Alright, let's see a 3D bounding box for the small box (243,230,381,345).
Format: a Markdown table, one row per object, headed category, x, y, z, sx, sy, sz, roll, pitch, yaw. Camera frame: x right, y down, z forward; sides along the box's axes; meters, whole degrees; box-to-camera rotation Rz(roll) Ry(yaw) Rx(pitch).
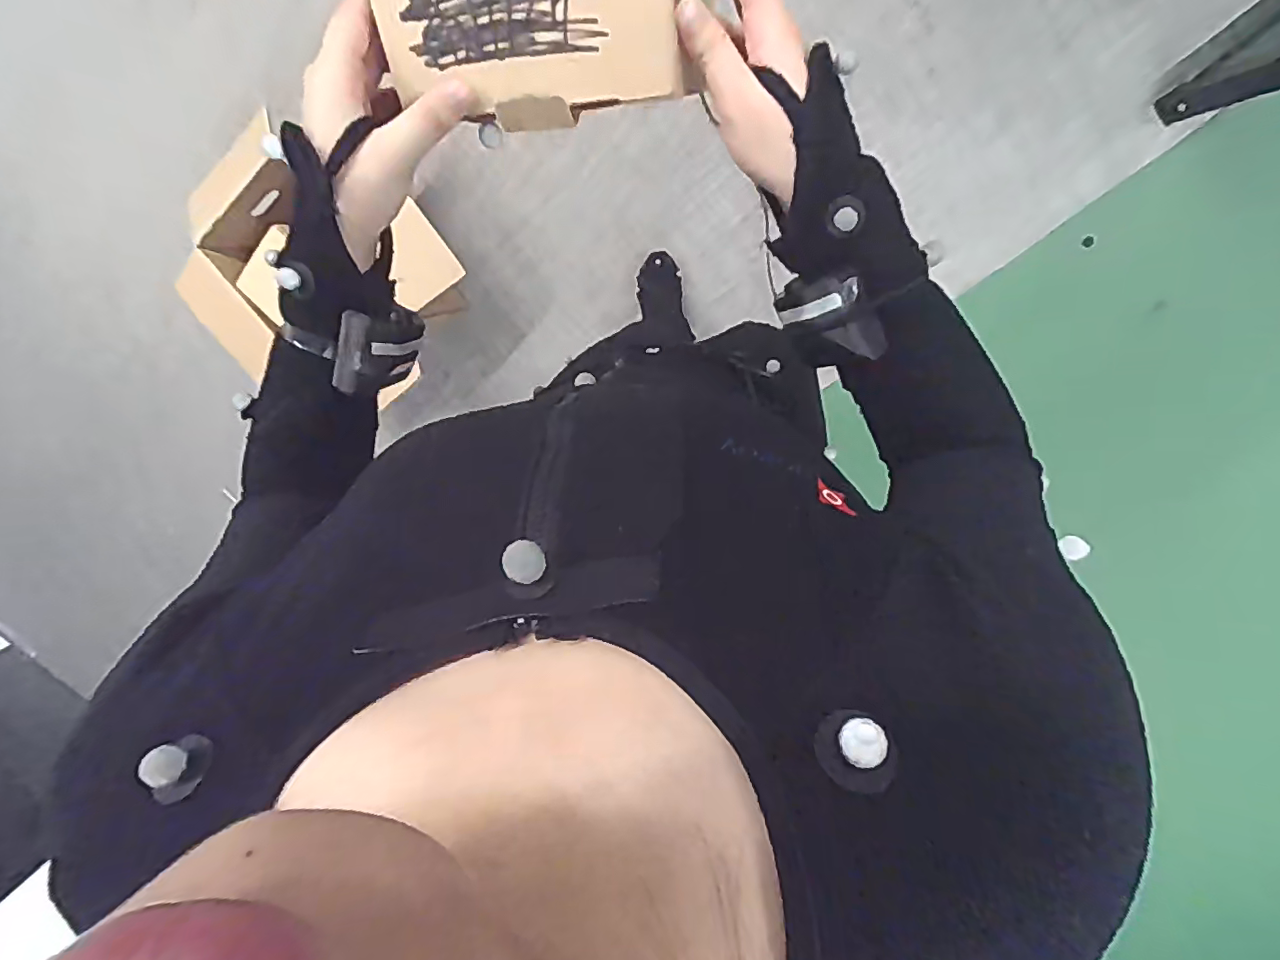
| category | x | y | z | sx | sy | sz | roll | pitch | yaw |
| --- | --- | --- | --- | --- | --- | --- | --- | --- | --- |
| small box | -0.726 | -0.432 | 1.216 | 0.179 | 0.176 | 0.168 | -39 | 103 | 21 |
